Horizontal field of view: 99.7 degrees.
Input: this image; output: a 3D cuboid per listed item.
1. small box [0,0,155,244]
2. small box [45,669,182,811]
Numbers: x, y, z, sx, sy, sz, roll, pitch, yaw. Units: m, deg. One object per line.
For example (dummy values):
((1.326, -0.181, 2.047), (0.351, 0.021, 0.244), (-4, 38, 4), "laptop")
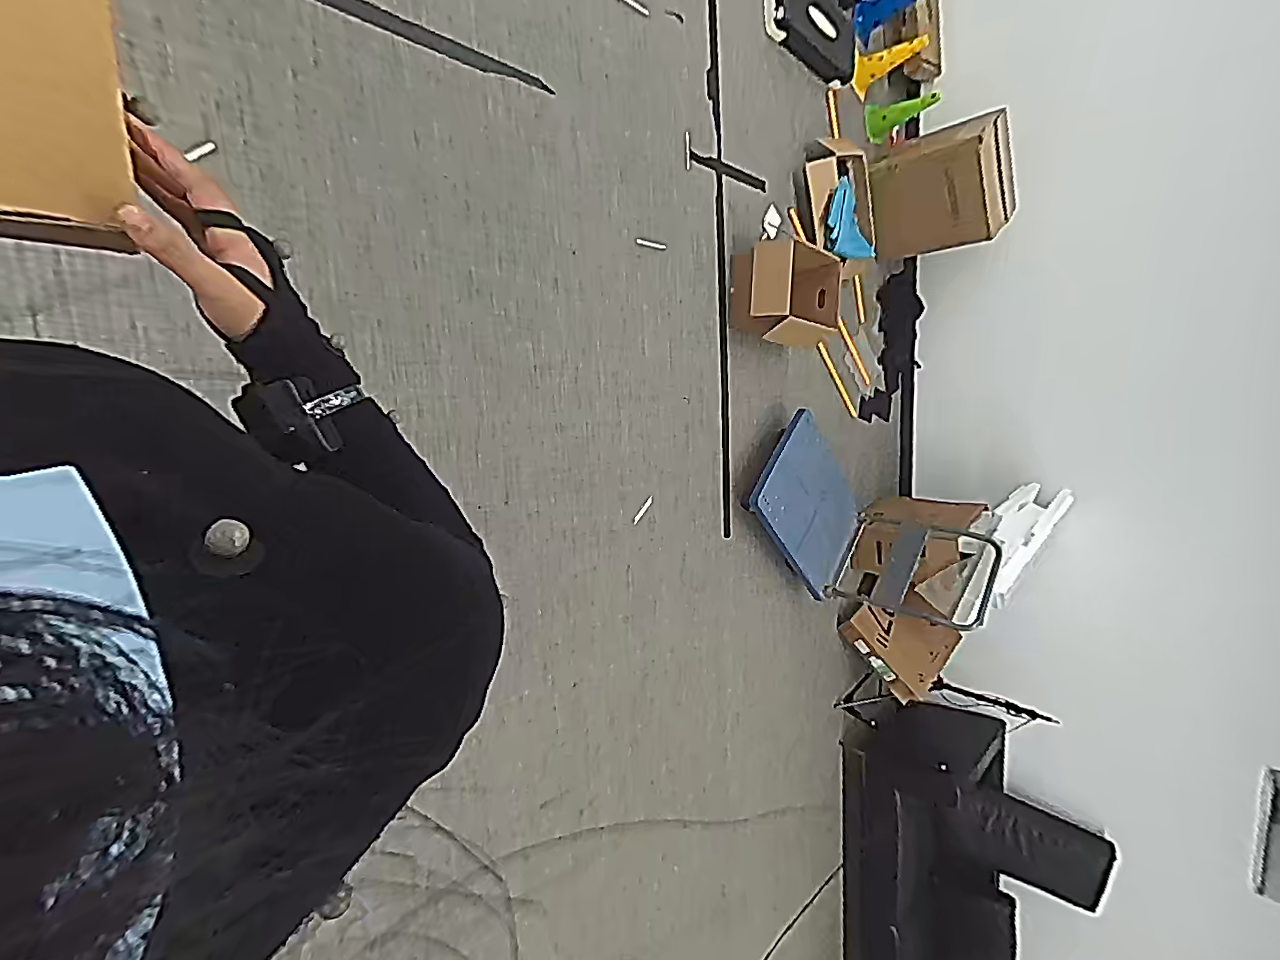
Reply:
((-0.406, -0.250, 0.315), (0.168, 0.176, 0.179), (-8, 109, -42), "small box")
((-1.029, 0.492, 1.064), (0.168, 0.176, 0.179), (-12, 103, -42), "small box")
